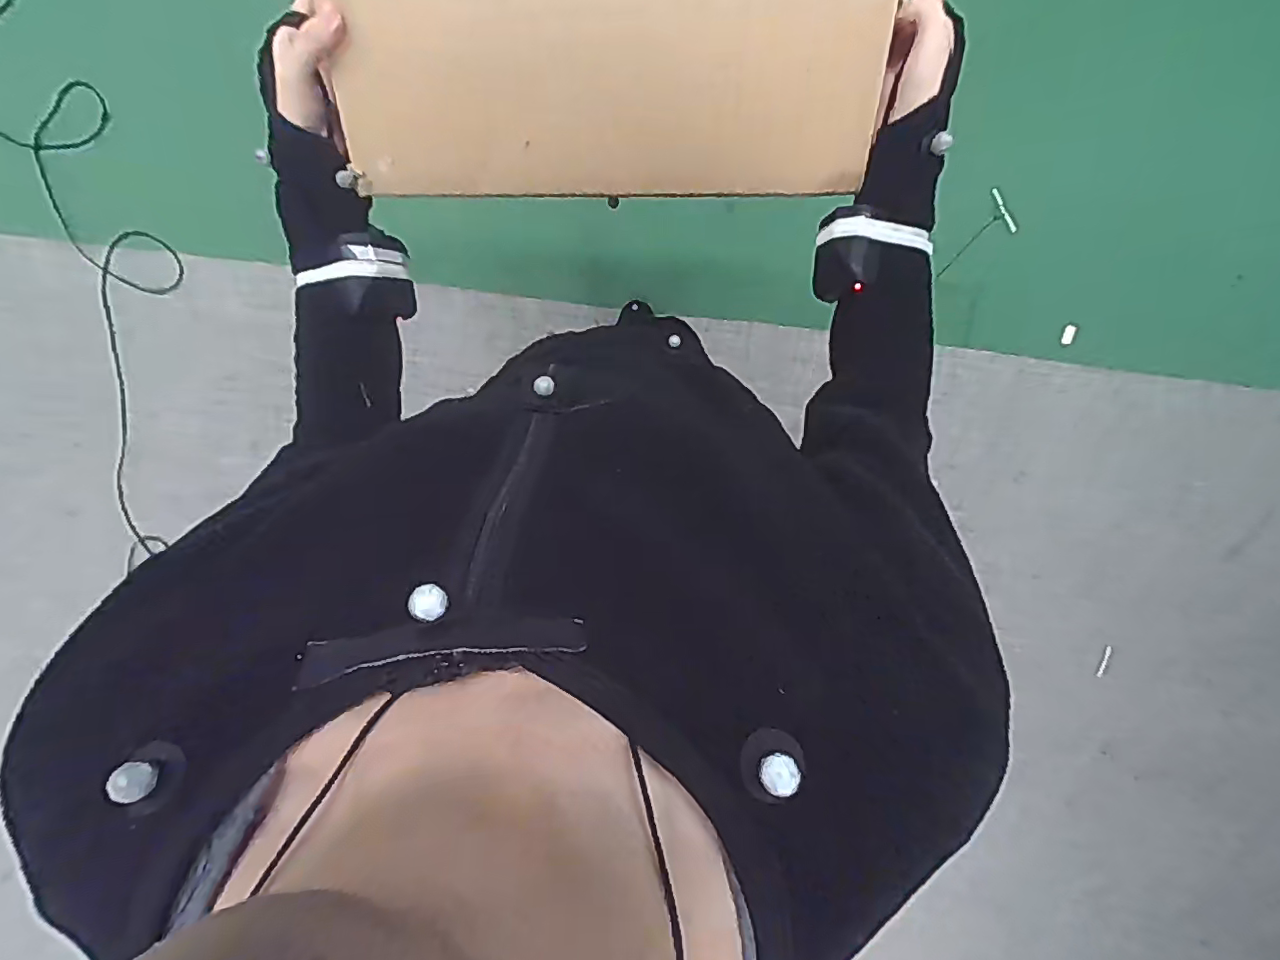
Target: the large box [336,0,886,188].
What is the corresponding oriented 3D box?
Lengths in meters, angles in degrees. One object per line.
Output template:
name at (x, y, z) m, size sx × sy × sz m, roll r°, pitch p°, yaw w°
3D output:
large box at (-0.022, -0.455, 0.497) m, size 0.408 × 0.320 × 0.320 m, roll -2°, pitch 120°, yaw -2°
